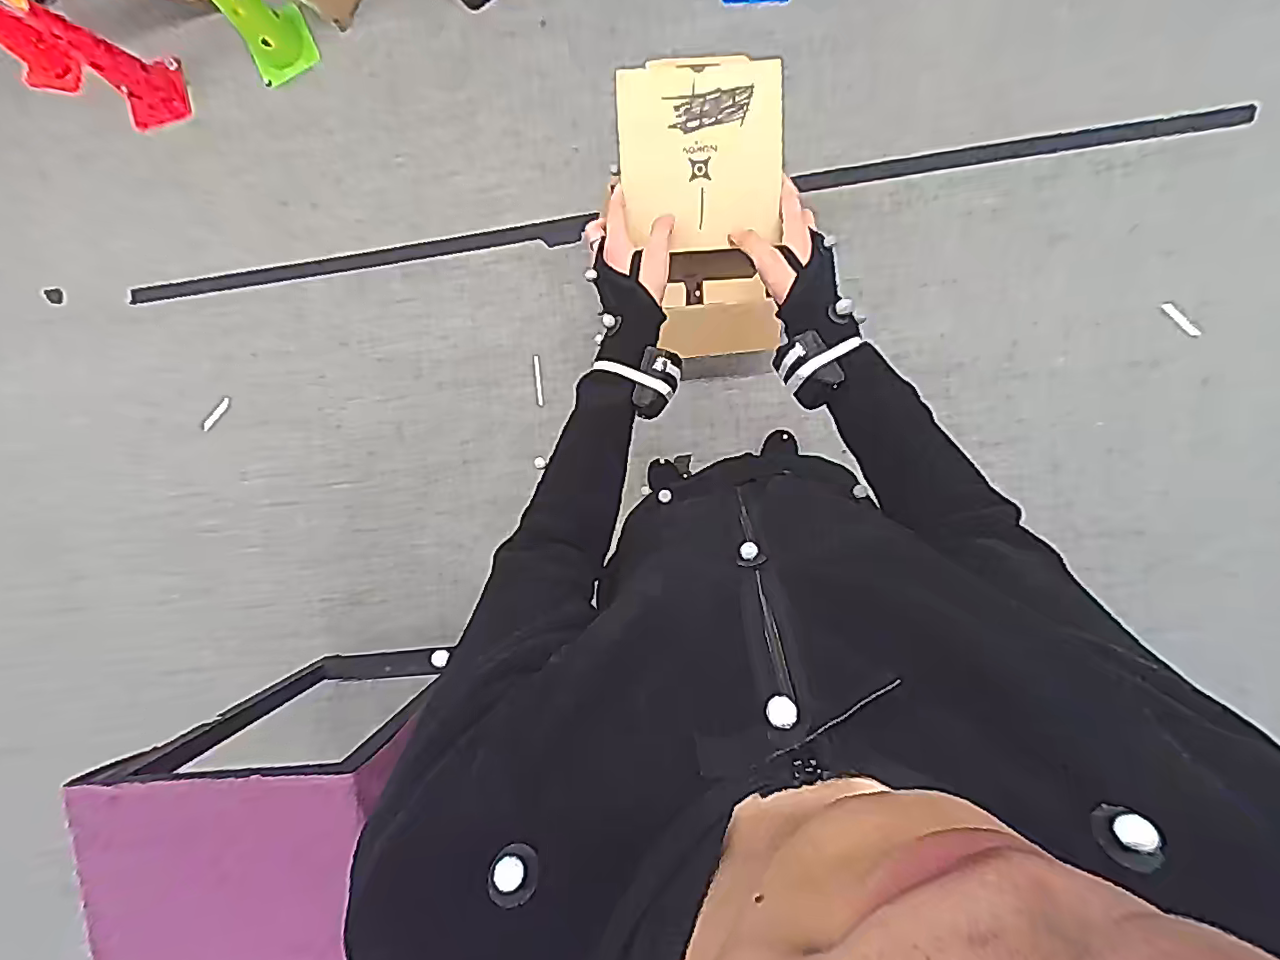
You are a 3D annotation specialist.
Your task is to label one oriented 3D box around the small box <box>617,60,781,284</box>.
[{"bbox_3d":[0.062,-0.338,0.627,0.168,0.176,0.179,-3,100,2],"label":"small box"}]
